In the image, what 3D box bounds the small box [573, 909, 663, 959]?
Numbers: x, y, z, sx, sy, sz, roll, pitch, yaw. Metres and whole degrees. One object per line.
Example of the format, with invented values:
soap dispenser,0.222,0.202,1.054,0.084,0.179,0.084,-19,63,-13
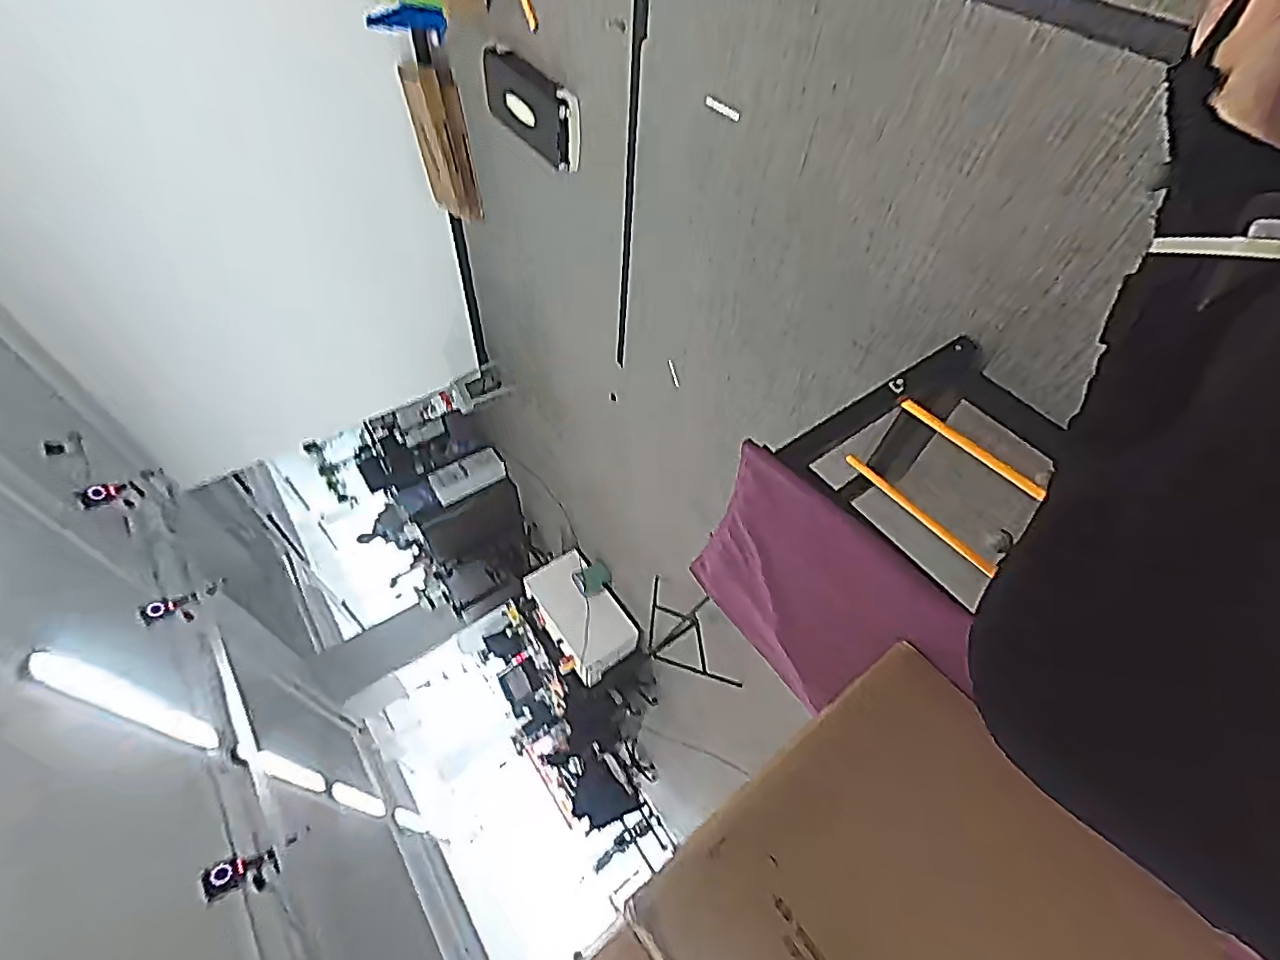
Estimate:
small box,-0.029,0.846,0.876,0.179,0.176,0.168,48,153,22
